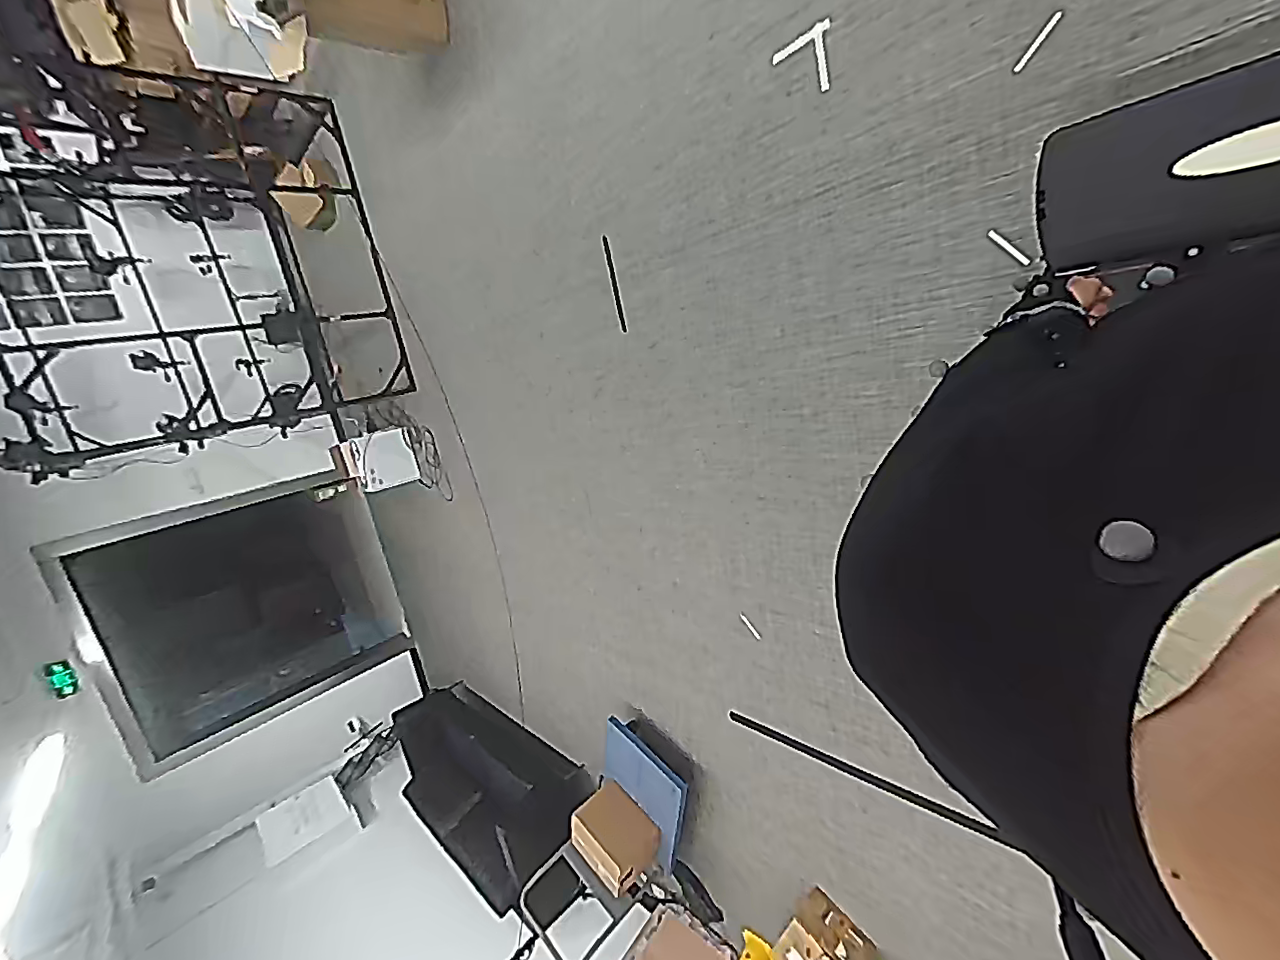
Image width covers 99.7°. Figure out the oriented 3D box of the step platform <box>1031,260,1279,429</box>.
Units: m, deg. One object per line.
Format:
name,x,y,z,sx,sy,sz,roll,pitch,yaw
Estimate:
step platform,1.117,-0.243,0.962,0.684,0.204,0.286,10,113,48
